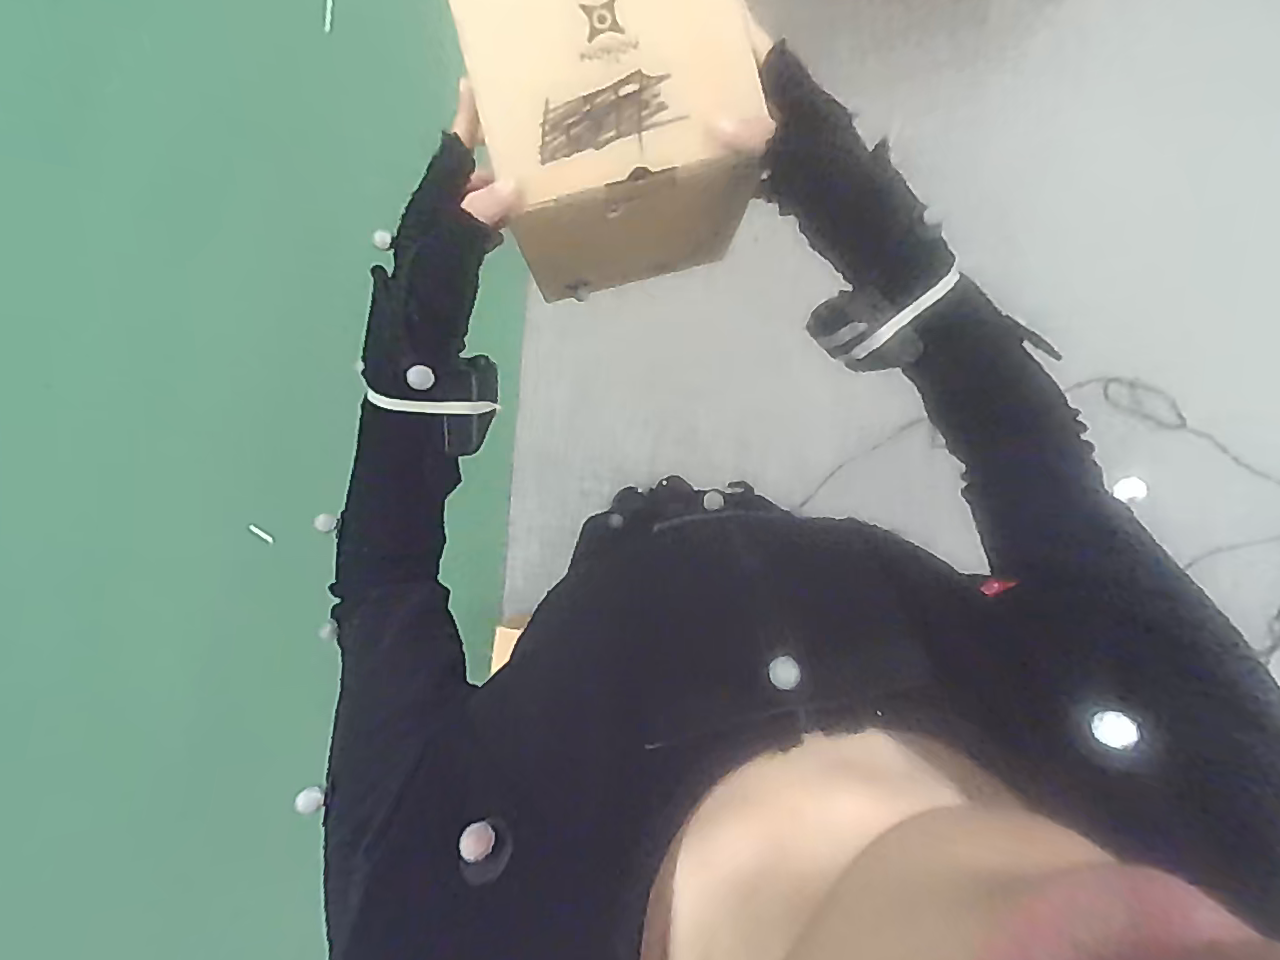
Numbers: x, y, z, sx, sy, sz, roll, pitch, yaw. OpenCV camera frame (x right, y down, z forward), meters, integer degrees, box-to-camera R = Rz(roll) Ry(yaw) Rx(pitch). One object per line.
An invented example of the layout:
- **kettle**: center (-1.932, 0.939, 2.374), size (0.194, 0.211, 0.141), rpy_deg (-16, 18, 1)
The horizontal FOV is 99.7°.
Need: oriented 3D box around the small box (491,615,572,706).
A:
- **small box**: center (-0.273, 0.460, 1.399), size (0.168, 0.176, 0.179), rpy_deg (5, 86, 1)
